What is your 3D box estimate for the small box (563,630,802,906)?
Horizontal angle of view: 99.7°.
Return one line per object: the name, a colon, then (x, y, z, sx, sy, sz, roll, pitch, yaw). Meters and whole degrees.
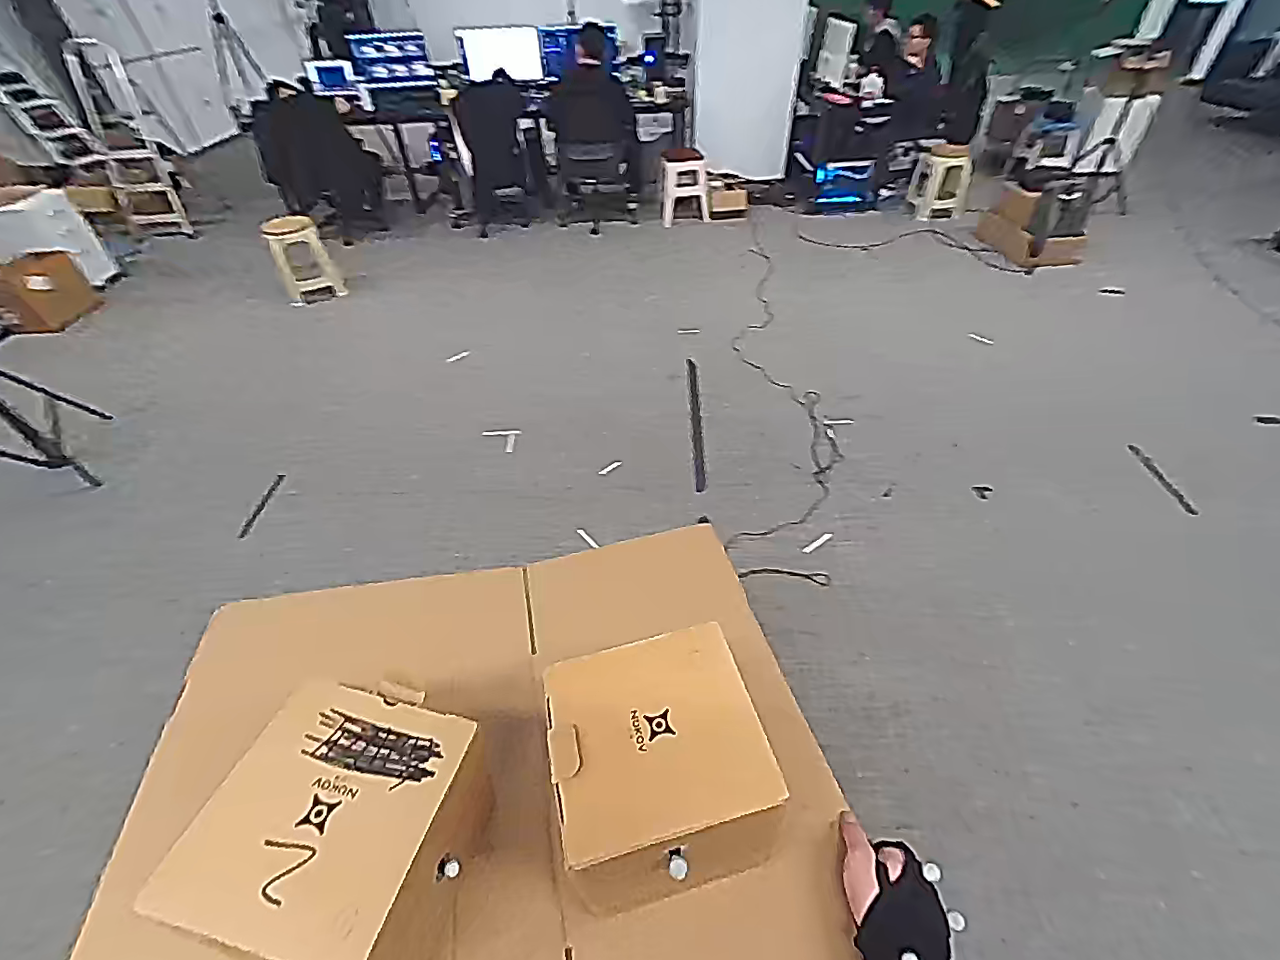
small box: (0.032, 0.276, 0.522, 0.179, 0.176, 0.168, -12, 42, -7)
